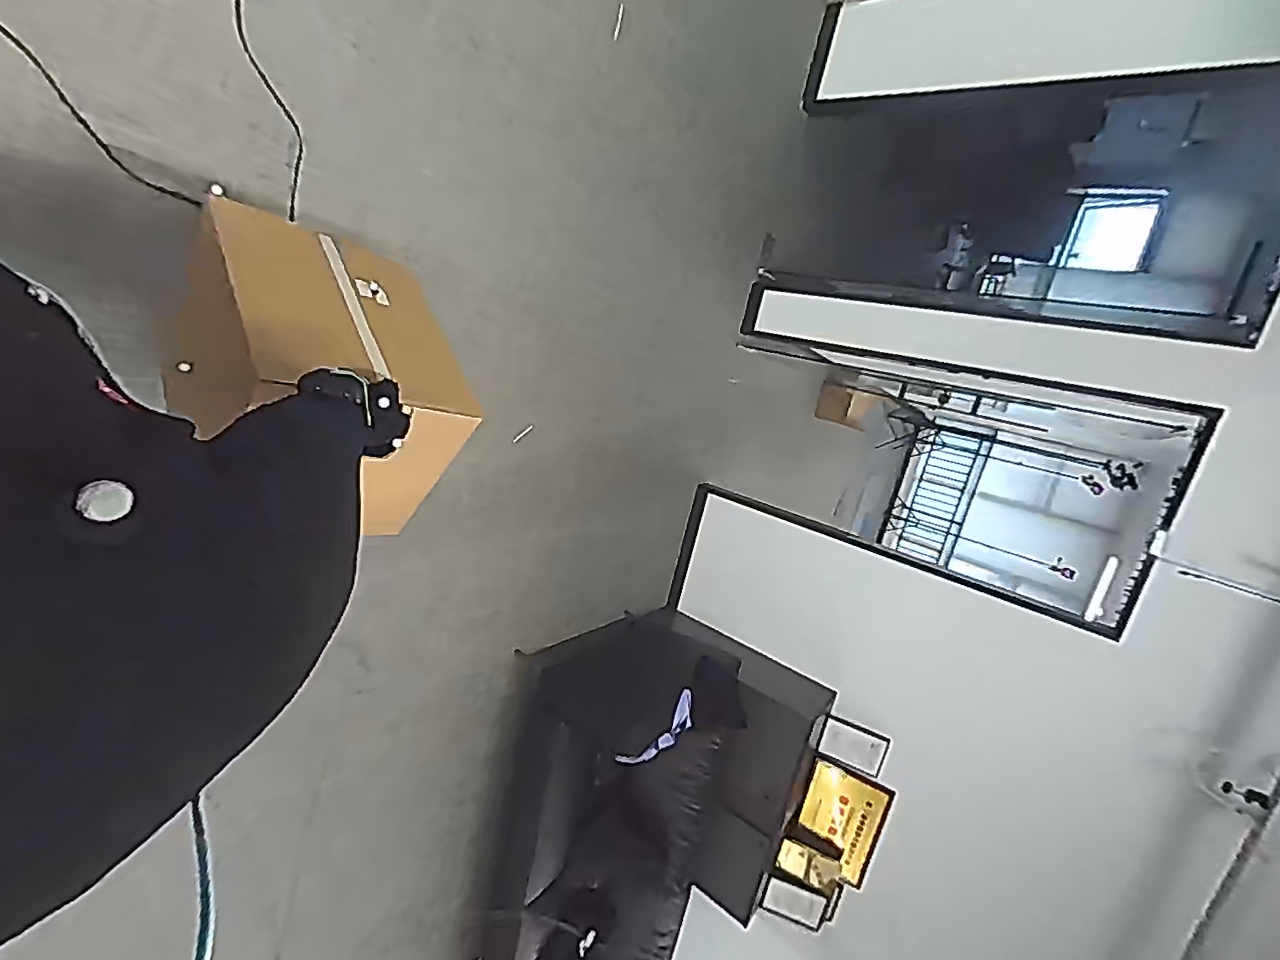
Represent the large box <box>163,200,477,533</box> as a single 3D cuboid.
[{"bbox_3d":[-0.544,-0.164,0.904,0.320,0.408,0.320,-46,152,25],"label":"large box"}]
